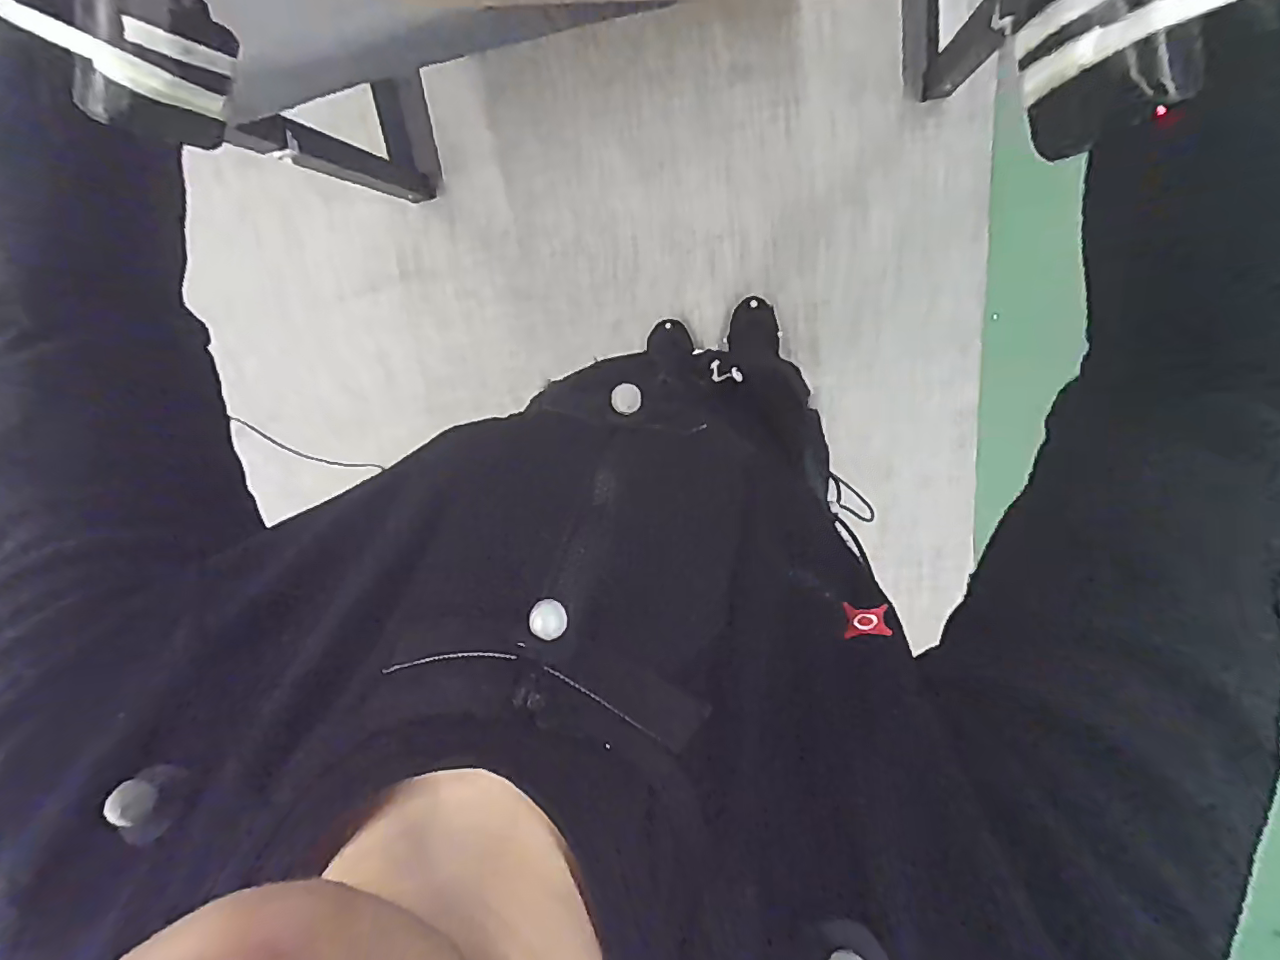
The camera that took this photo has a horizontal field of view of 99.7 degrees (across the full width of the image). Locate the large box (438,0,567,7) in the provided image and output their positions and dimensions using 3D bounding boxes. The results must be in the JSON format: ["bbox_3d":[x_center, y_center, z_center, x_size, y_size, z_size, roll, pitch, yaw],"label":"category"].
[{"bbox_3d":[0.002,-0.470,0.274,0.408,0.320,0.320,1,128,4],"label":"large box"}]
